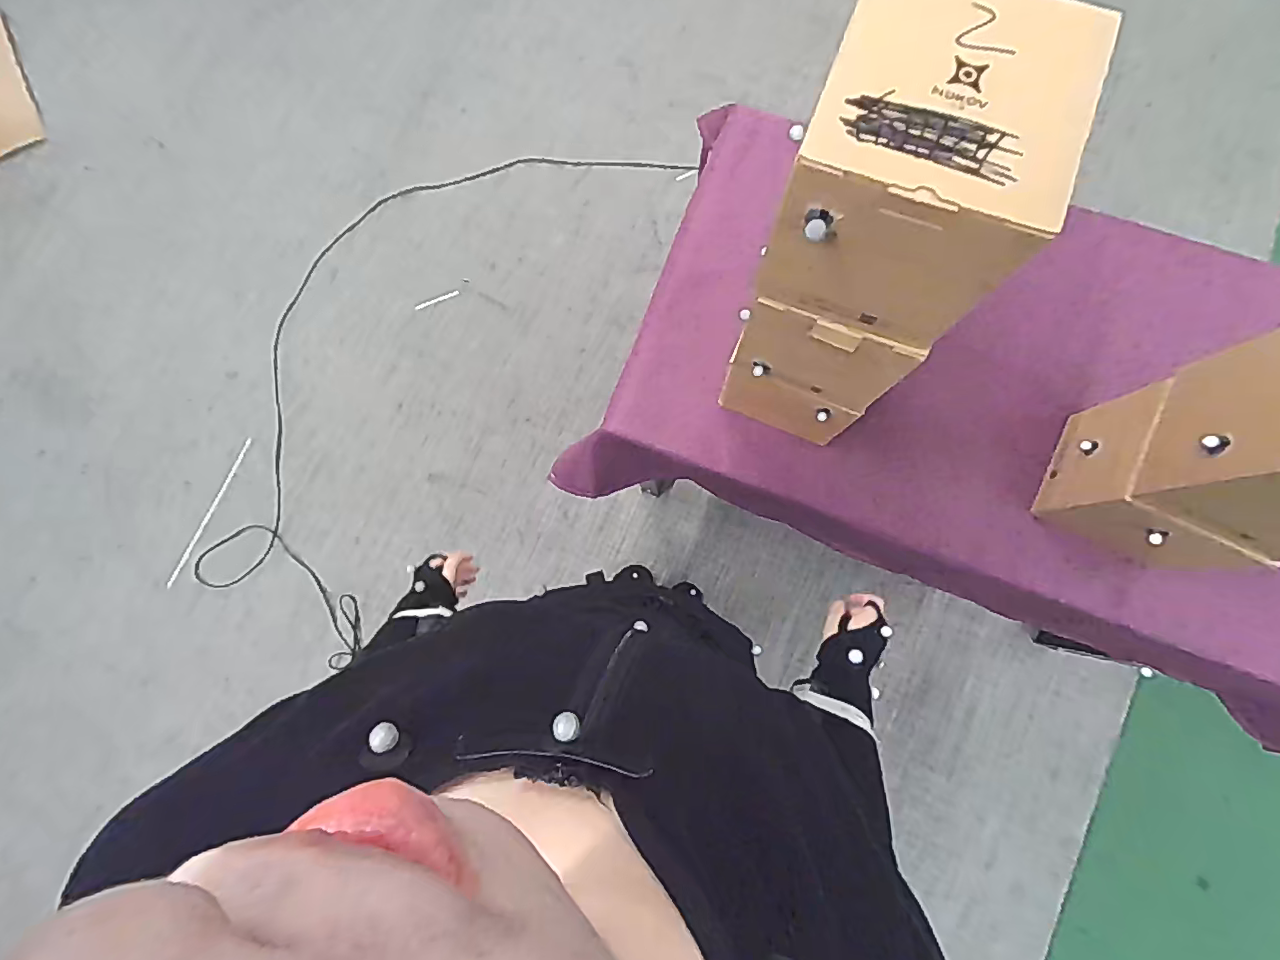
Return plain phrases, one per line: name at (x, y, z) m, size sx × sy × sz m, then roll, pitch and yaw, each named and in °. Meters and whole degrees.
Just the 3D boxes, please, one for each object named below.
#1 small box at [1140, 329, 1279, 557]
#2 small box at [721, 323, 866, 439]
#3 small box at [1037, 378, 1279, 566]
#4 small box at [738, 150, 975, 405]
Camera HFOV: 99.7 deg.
small box at (0.660, -0.034, 0.532) m, size 0.168 × 0.176 × 0.179 m, roll 27°, pitch 82°, yaw 7°
small box at (0.224, -0.172, 0.750) m, size 0.179 × 0.176 × 0.168 m, roll 23°, pitch 83°, yaw 6°
small box at (0.666, 0.001, 0.691) m, size 0.179 × 0.176 × 0.168 m, roll 27°, pitch 84°, yaw 7°
small box at (0.216, -0.203, 0.589) m, size 0.168 × 0.176 × 0.179 m, roll 22°, pitch 81°, yaw 6°
